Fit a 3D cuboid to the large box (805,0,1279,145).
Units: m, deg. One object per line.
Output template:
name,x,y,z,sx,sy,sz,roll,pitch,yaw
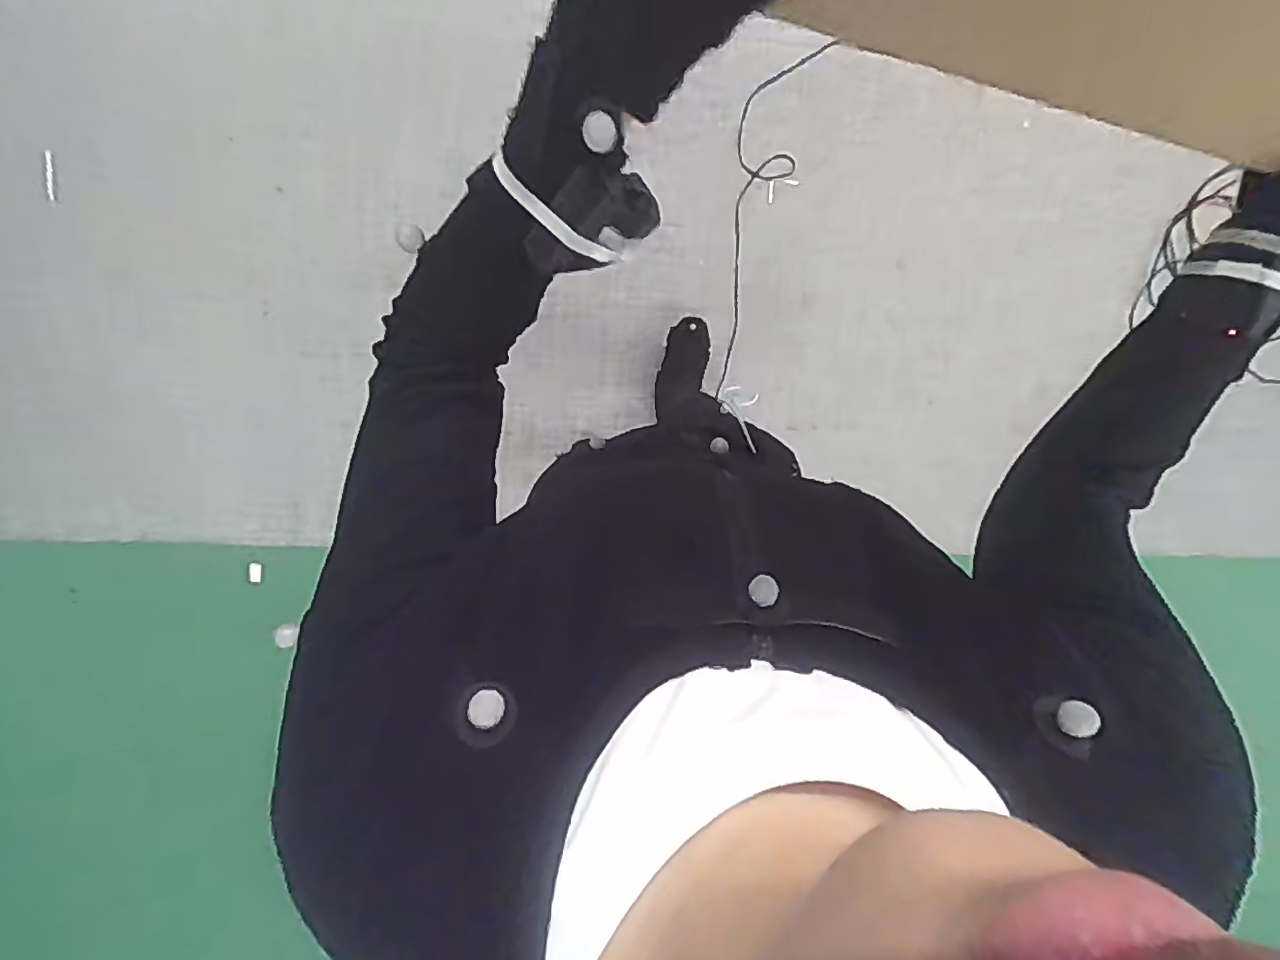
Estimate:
large box,0.275,-0.358,0.147,0.408,0.320,0.320,1,94,-18
